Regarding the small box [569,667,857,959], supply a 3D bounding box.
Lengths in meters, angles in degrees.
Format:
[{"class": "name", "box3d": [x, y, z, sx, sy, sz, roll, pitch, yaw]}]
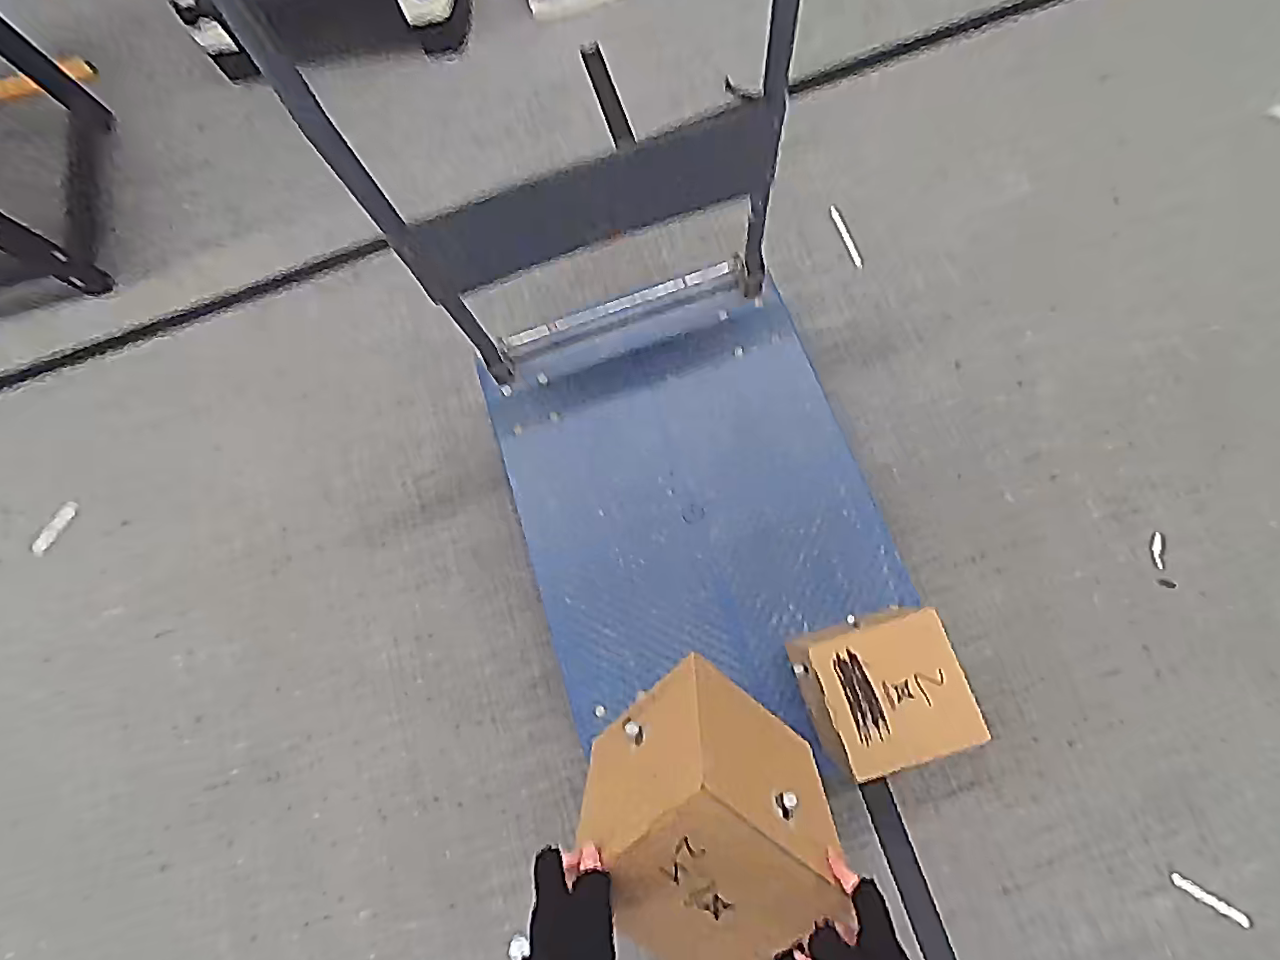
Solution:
[{"class": "small box", "box3d": [0.062, 0.317, 0.512, 0.179, 0.176, 0.168, 40, 106, -10]}]
